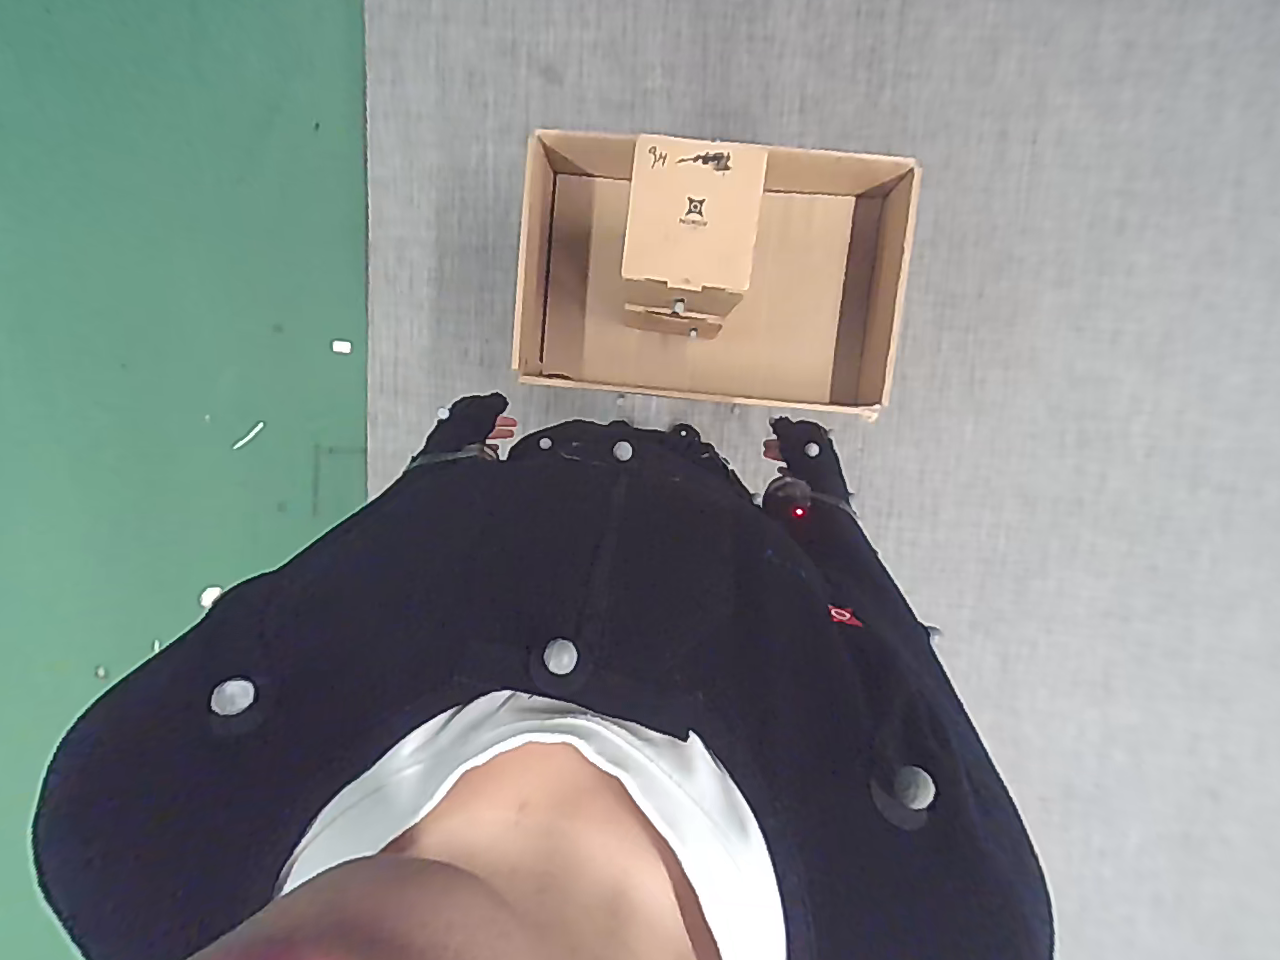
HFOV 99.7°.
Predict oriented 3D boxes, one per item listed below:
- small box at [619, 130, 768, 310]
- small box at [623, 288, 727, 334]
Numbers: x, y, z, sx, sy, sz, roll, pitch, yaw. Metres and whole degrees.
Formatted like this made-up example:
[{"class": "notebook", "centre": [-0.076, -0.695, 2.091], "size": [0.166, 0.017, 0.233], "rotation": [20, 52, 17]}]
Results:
[{"class": "small box", "centre": [0.066, -0.345, 0.754], "size": [0.168, 0.176, 0.179], "rotation": [8, 98, -1]}, {"class": "small box", "centre": [0.067, -0.355, 0.918], "size": [0.168, 0.176, 0.179], "rotation": [8, 95, -1]}]
